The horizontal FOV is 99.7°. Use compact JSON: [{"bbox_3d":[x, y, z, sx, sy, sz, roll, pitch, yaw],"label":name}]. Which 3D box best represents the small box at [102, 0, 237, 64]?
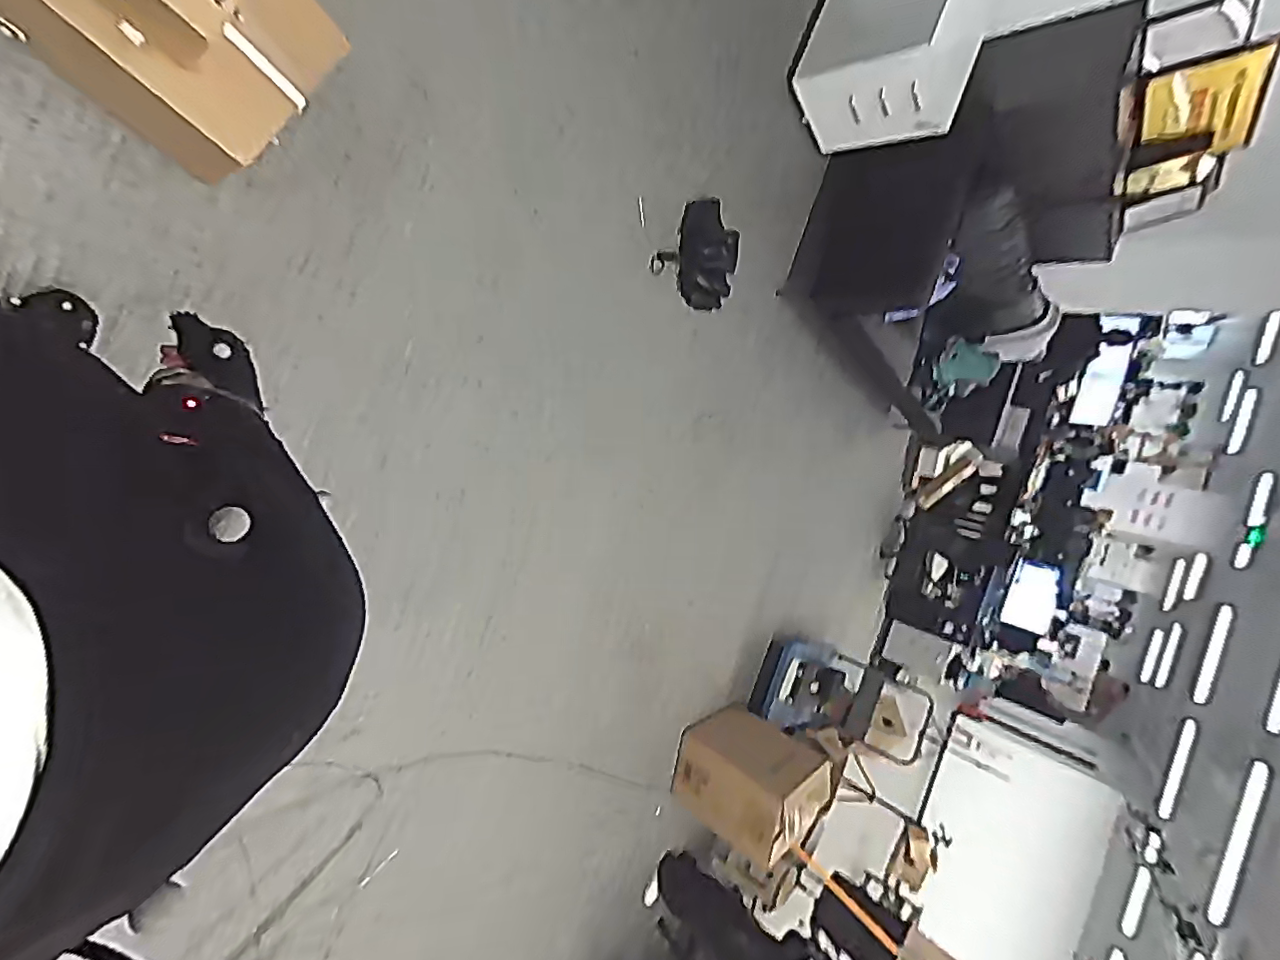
[{"bbox_3d":[-0.649,-0.709,0.717,0.179,0.176,0.168,33,80,-48],"label":"small box"}]
